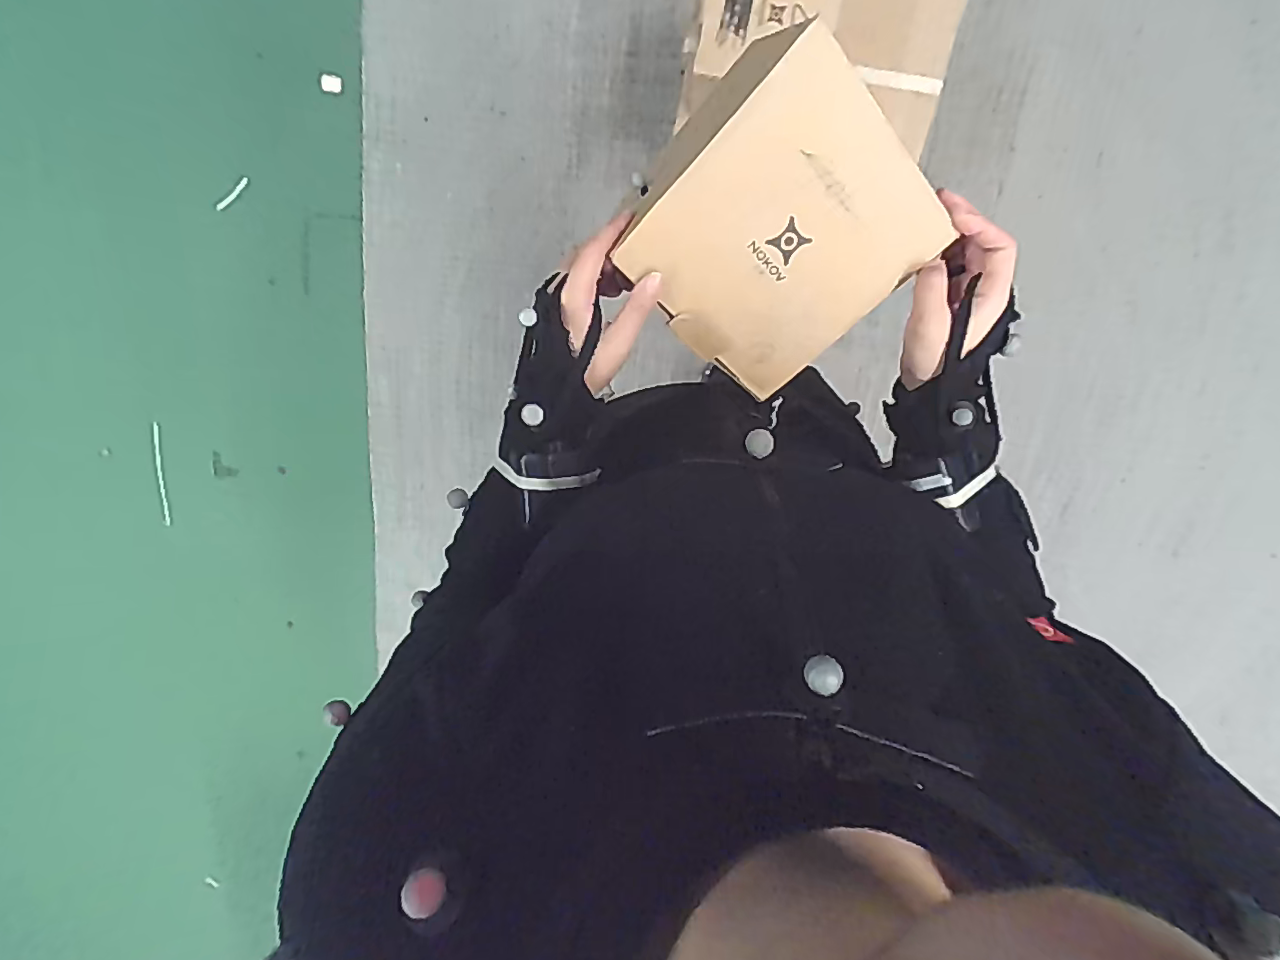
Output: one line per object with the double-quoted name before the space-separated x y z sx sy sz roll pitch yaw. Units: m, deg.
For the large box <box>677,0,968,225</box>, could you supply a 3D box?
"large box" 0.294 -0.695 1.001 0.408 0.320 0.320 12 107 3
